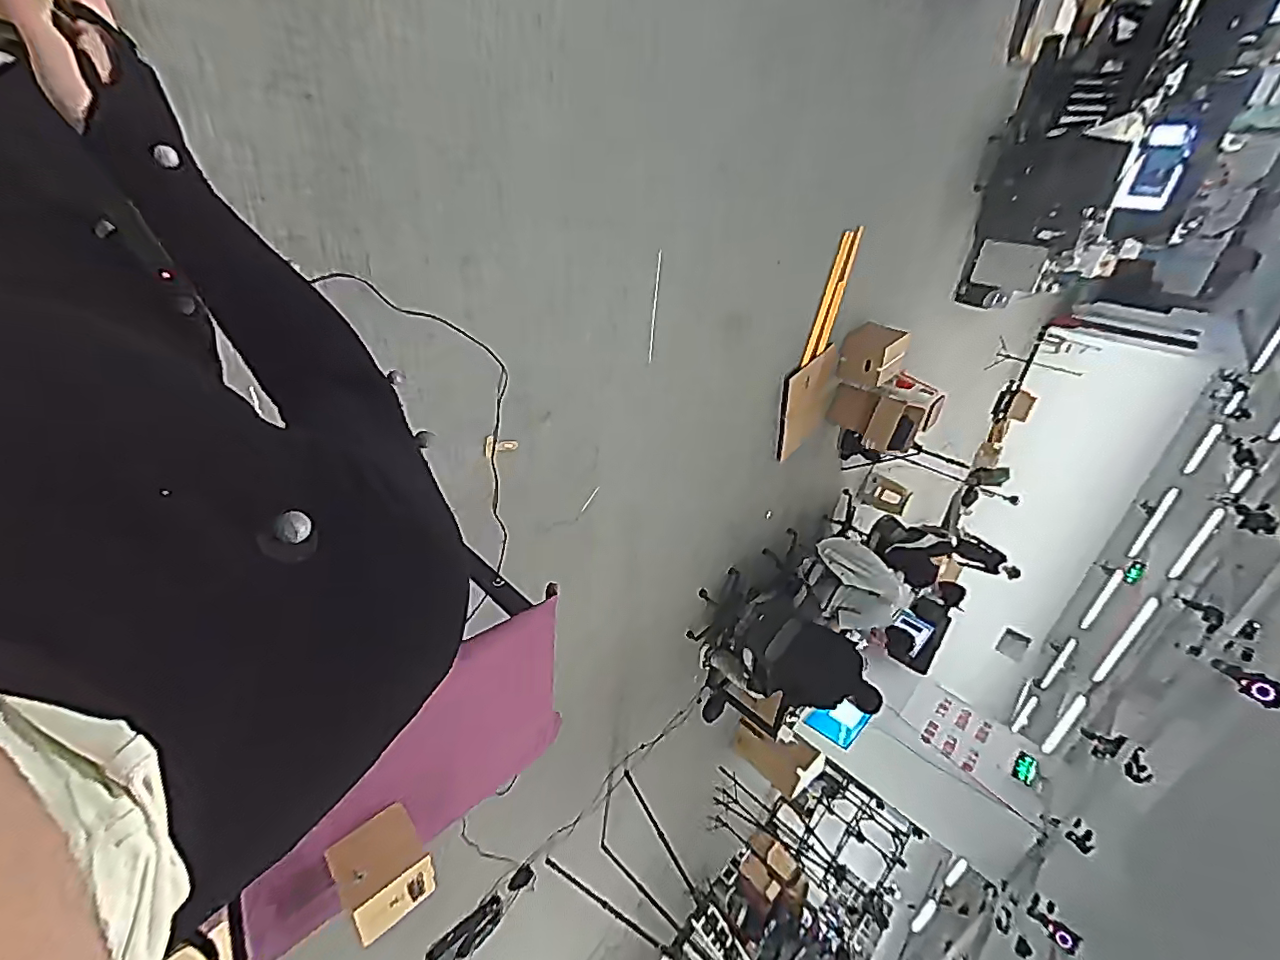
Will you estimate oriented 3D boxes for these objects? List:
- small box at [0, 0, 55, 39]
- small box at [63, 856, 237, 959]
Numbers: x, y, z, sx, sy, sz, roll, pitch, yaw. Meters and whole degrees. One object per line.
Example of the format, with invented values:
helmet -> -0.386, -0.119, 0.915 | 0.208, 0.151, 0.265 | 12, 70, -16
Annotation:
small box -> -0.529, -0.428, 0.359 | 0.179, 0.176, 0.168 | -8, 120, -43
small box -> -0.822, 0.797, 0.915 | 0.179, 0.176, 0.168 | -19, 128, -45
